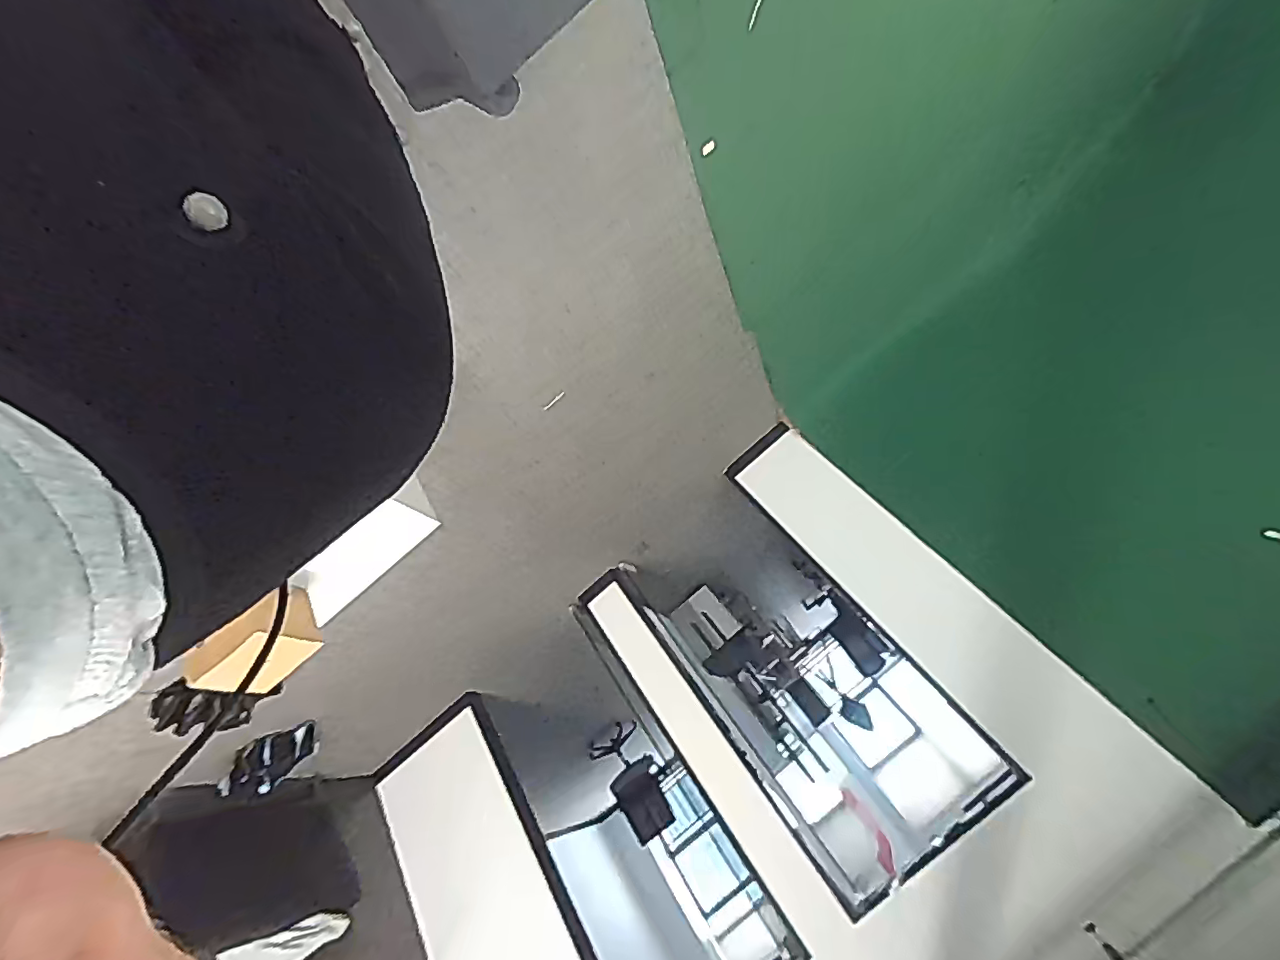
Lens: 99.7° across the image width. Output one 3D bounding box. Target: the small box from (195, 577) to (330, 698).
[{"bbox_3d":[-0.821,0.343,1.174,0.179,0.176,0.168,-42,149,0],"label":"small box"}]
